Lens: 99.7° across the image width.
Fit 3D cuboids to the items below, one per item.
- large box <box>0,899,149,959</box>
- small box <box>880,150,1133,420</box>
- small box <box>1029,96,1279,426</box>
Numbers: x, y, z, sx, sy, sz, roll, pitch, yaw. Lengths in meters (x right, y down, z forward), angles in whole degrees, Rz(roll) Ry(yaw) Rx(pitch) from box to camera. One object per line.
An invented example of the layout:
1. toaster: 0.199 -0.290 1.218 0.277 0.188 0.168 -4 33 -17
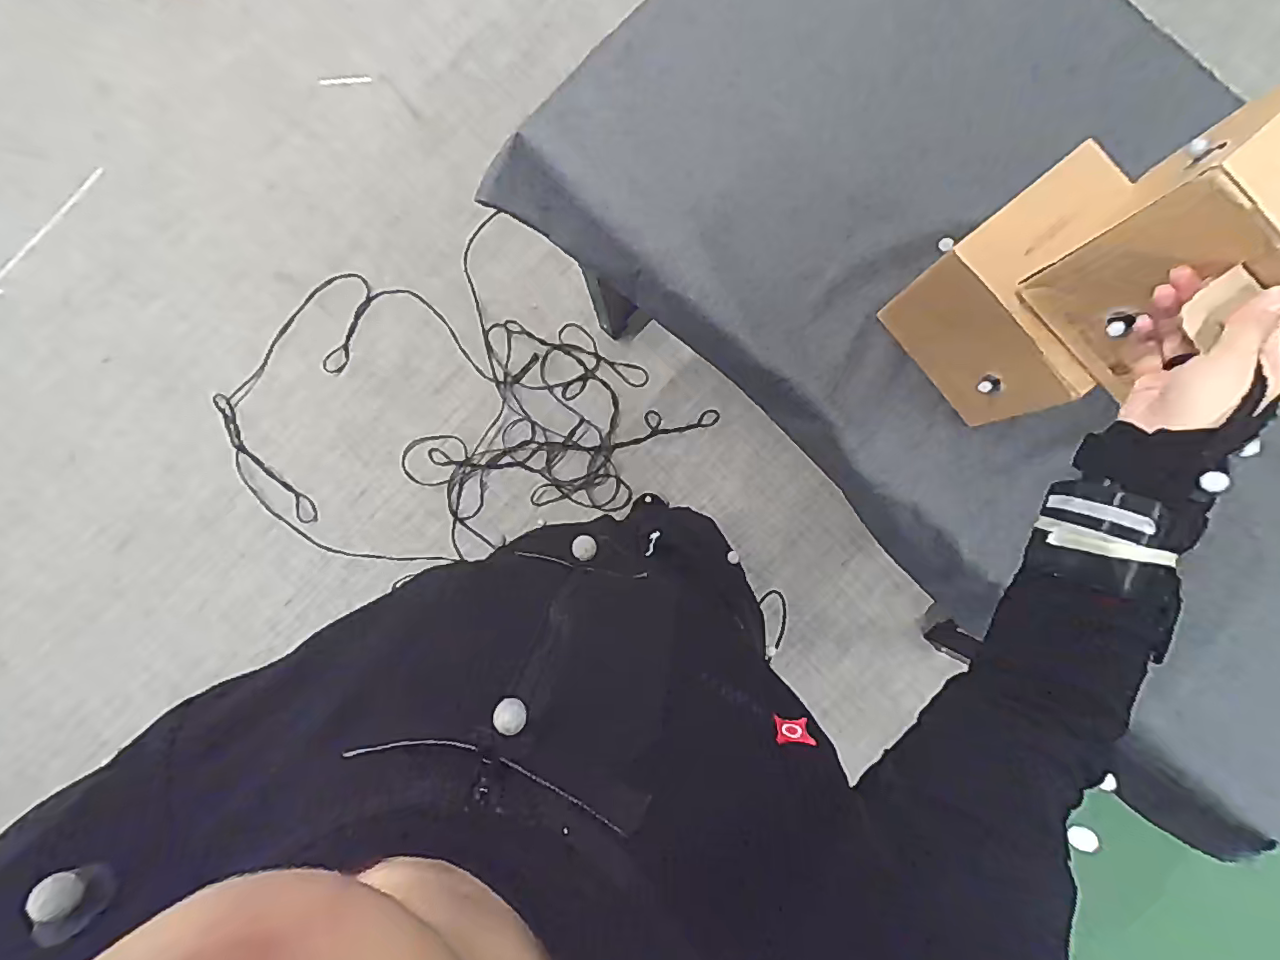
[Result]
1. large box: -1.344 1.286 1.201 0.408 0.320 0.320 43 88 4
2. small box: 0.394 -0.178 0.560 0.168 0.176 0.179 -39 86 -2
3. small box: 0.448 -0.163 0.394 0.179 0.176 0.168 -40 87 -3
